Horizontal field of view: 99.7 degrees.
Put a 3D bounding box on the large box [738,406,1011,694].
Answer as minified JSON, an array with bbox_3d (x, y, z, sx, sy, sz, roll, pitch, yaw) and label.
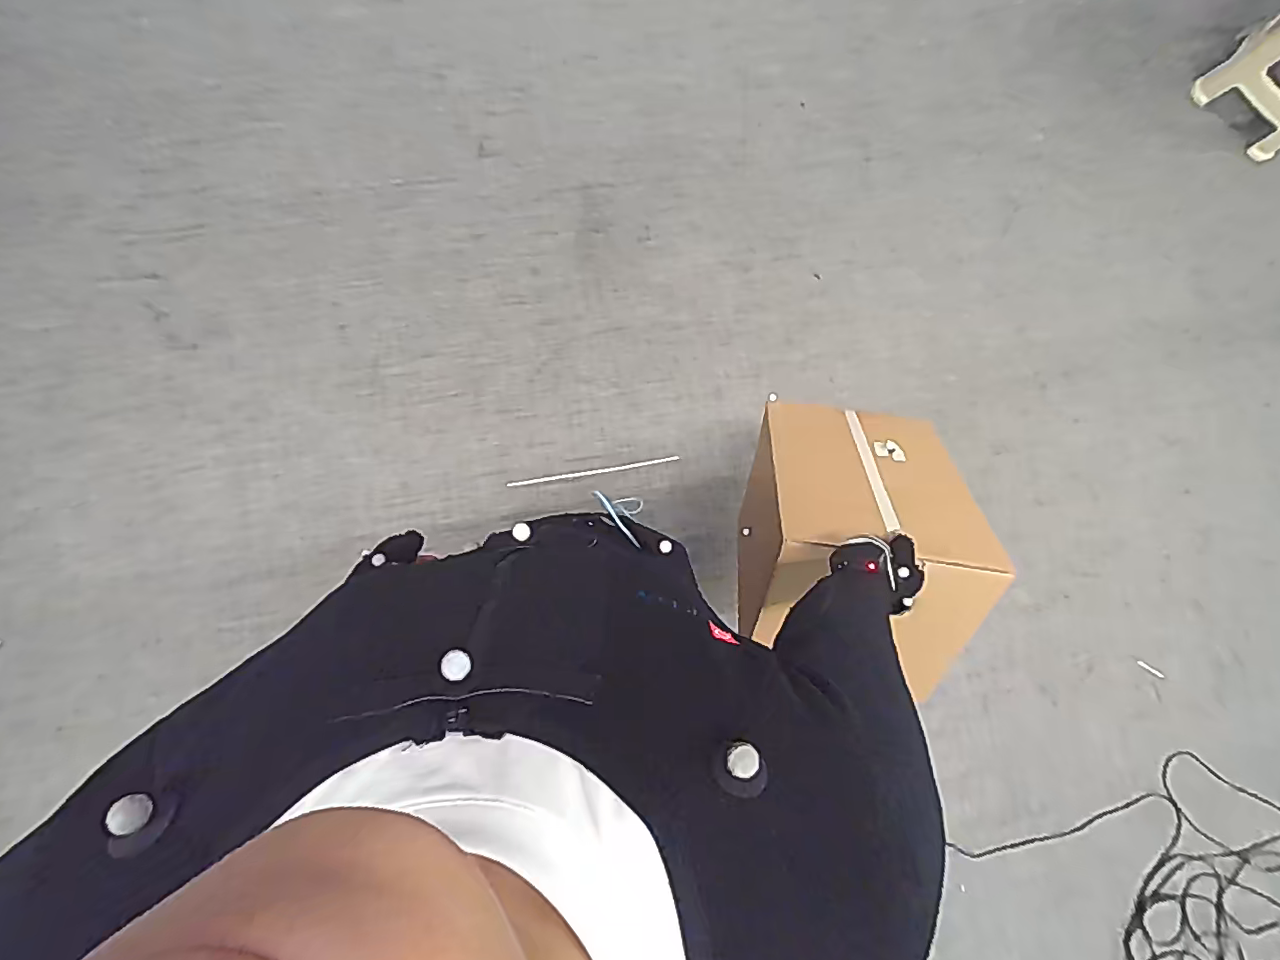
[{"bbox_3d":[0.360,0.110,0.976,0.320,0.408,0.320,9,126,2],"label":"large box"}]
